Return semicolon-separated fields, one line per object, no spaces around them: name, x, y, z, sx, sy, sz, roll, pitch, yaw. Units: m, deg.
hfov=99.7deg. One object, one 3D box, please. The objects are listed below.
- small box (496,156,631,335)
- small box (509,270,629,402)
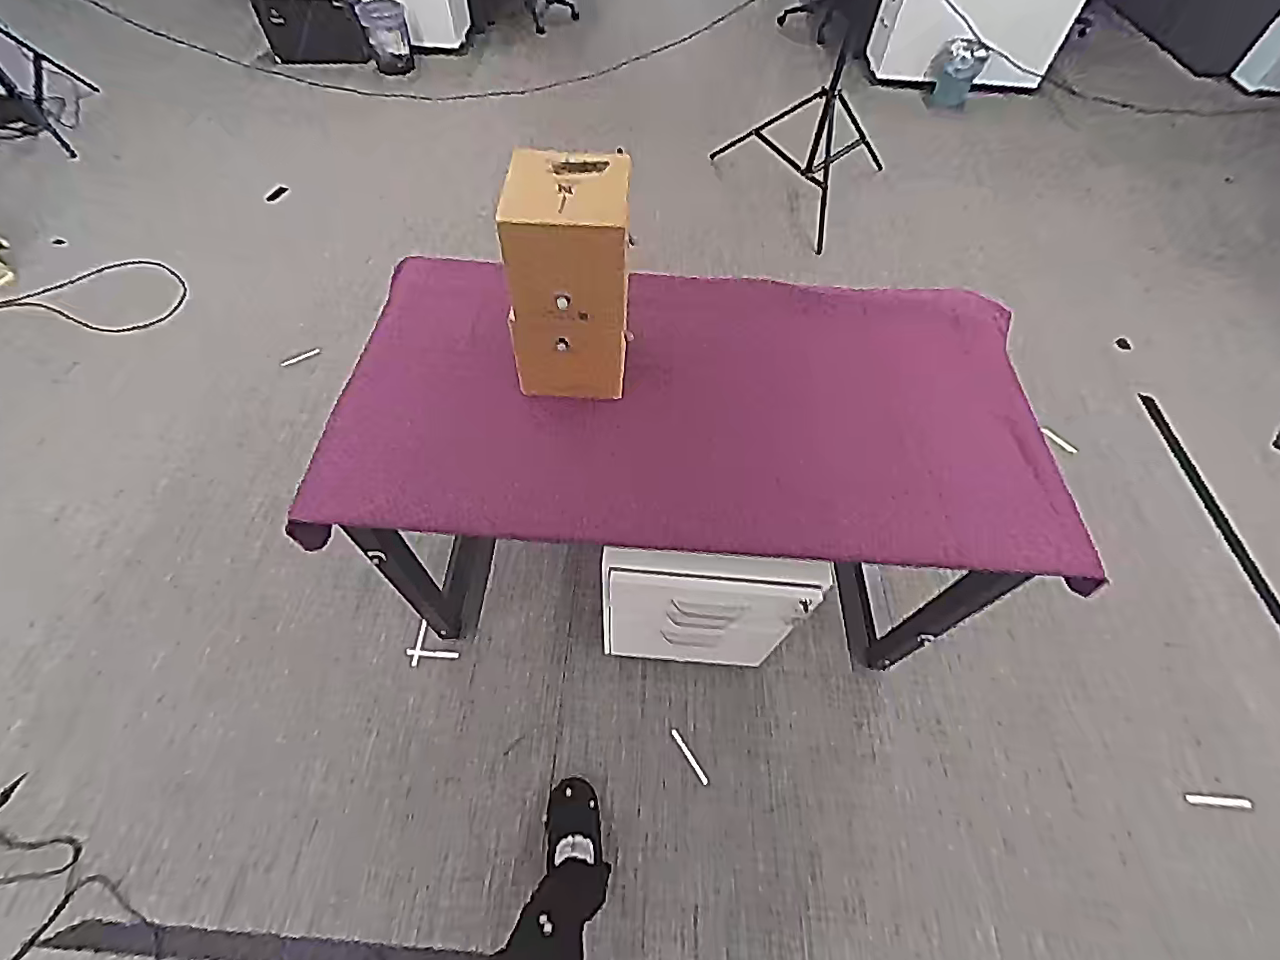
small box;-0.101;-0.338;0.788;0.168;0.176;0.179;2;58;-1
small box;-0.112;-0.250;0.927;0.179;0.176;0.168;3;57;0
